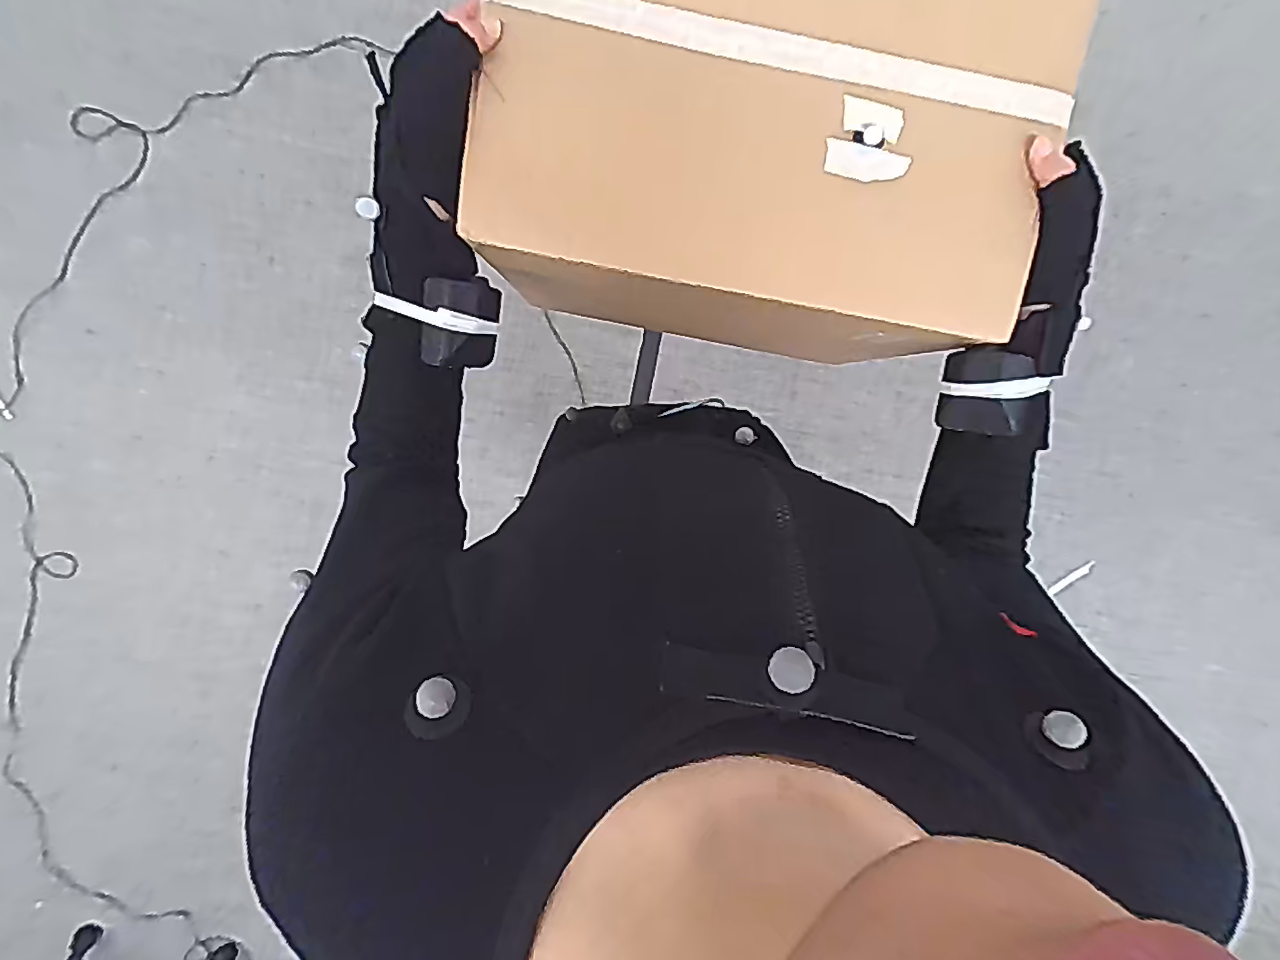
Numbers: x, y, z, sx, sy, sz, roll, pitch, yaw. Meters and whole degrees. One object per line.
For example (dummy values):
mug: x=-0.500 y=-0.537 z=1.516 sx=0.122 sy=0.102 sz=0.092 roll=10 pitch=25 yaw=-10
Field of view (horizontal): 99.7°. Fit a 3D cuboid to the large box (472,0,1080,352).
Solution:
large box: x=0.089 y=-0.319 z=0.520 sx=0.408 sy=0.320 sz=0.320 roll=9 pitch=100 yaw=-5
